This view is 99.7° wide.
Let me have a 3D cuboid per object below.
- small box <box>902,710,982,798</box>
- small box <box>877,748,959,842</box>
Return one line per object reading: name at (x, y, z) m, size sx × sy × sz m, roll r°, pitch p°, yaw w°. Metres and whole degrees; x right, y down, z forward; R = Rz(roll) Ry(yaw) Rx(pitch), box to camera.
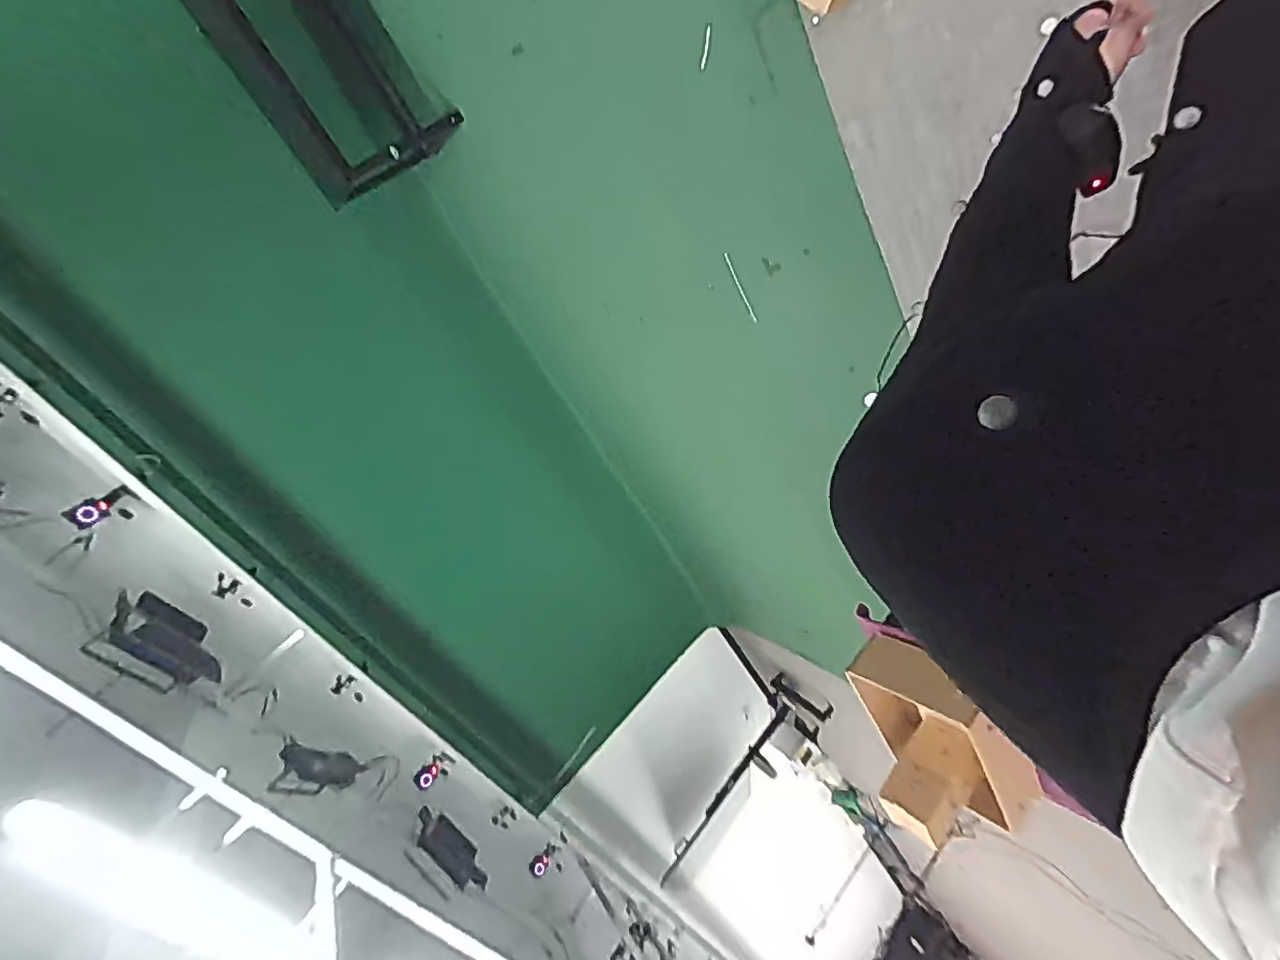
small box at (1.026, 0.920, 1.832) m, size 0.168 × 0.176 × 0.179 m, roll 13°, pitch 141°, yaw 55°
small box at (0.915, 1.026, 1.776) m, size 0.168 × 0.176 × 0.179 m, roll 14°, pitch 141°, yaw 55°
